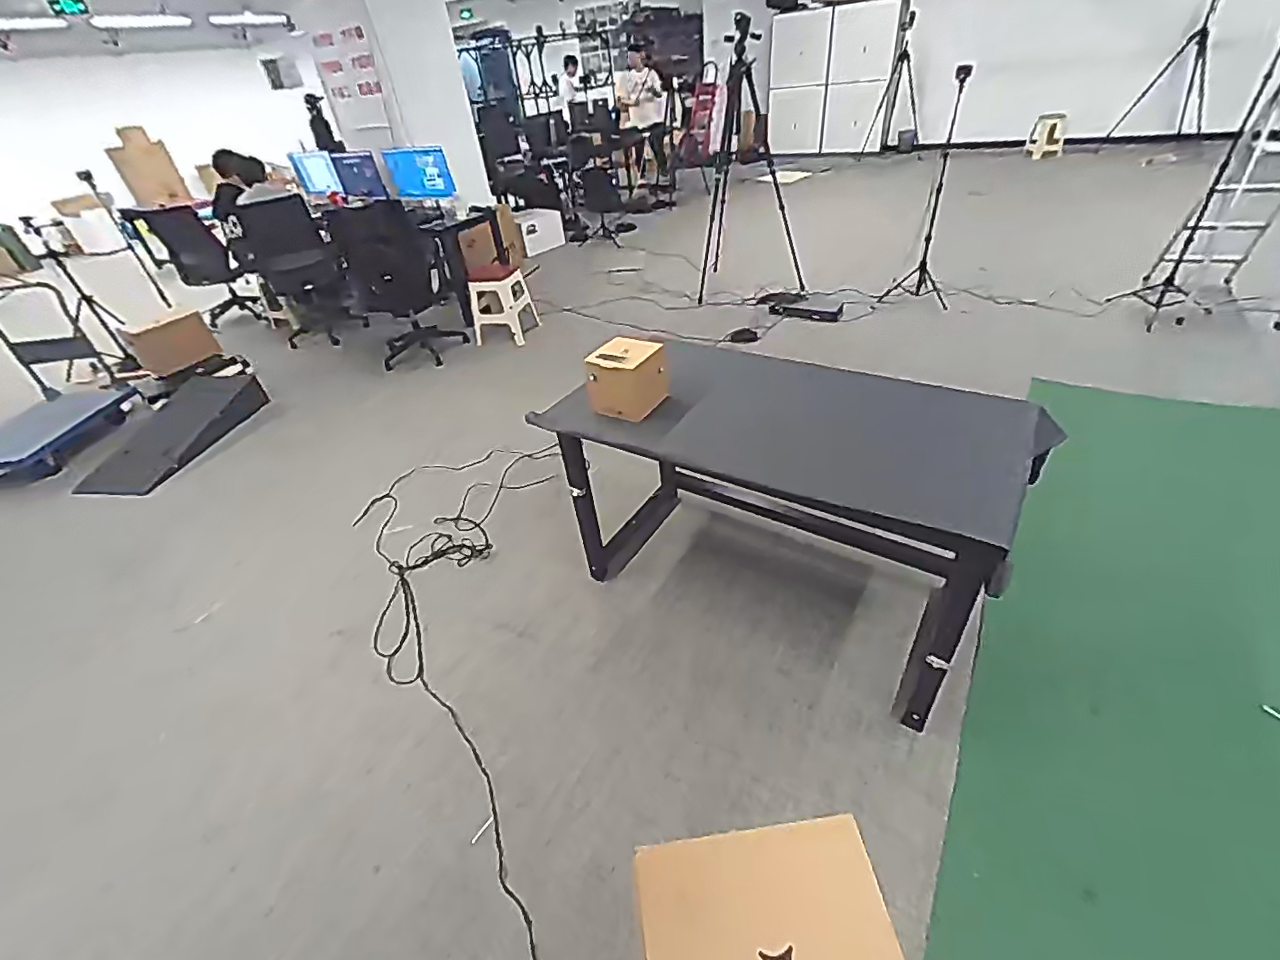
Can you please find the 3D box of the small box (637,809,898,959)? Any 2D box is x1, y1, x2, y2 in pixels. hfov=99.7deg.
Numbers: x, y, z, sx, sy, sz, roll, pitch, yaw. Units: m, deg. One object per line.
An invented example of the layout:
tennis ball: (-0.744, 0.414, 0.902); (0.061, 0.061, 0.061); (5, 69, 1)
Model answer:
small box: (0.087, 0.373, 0.403); (0.168, 0.176, 0.179); (-6, 48, -4)
